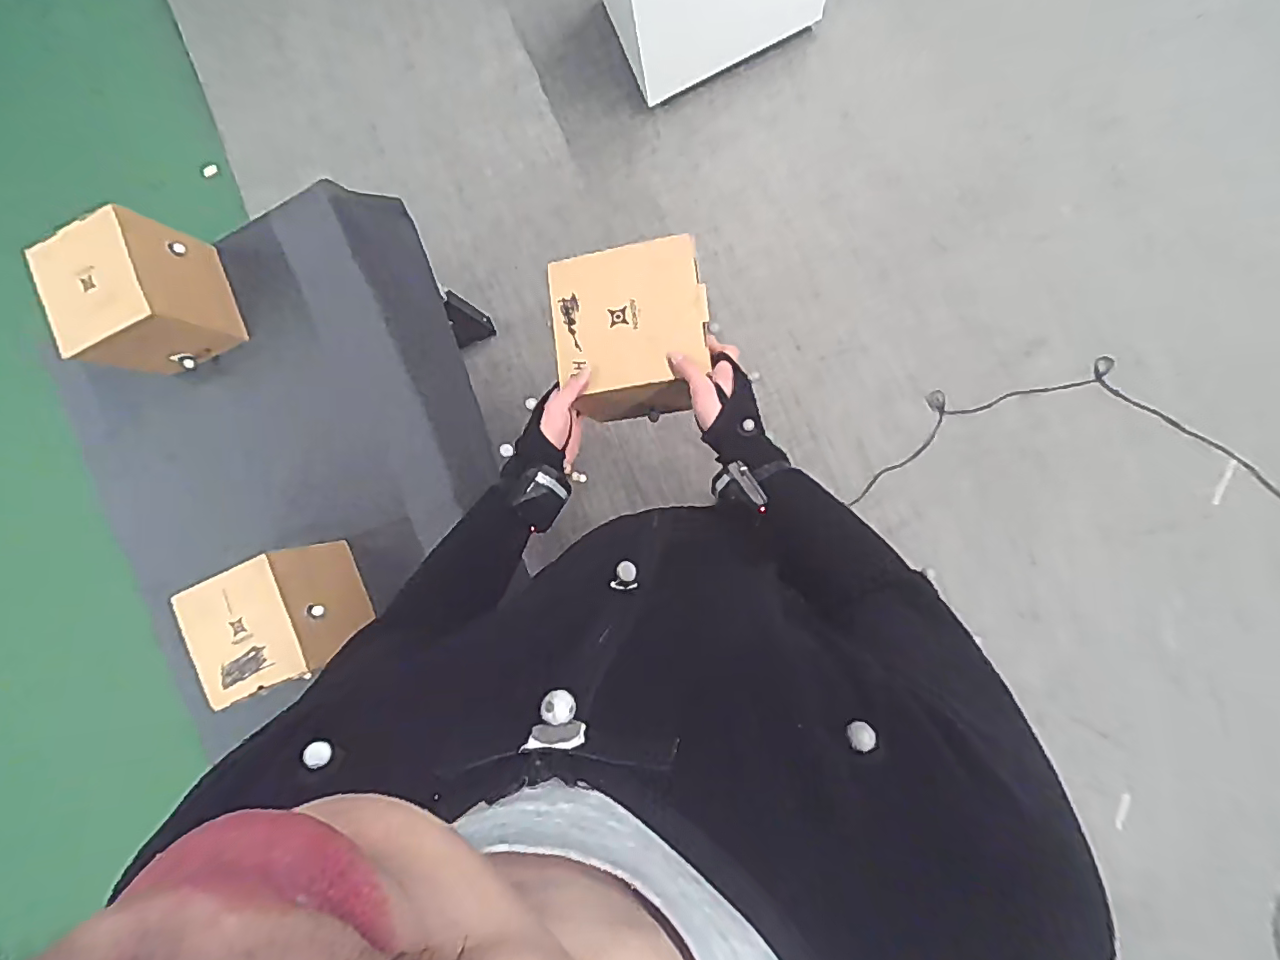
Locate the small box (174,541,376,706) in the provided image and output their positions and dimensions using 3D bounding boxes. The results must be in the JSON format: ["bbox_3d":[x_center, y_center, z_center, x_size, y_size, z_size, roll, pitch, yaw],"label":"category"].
[{"bbox_3d":[-0.545,0.209,0.831,0.168,0.176,0.179,-23,86,7],"label":"small box"}]

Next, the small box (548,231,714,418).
[{"bbox_3d":[-0.001,-0.182,0.685,0.179,0.176,0.168,-8,85,10],"label":"small box"}]

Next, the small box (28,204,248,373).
[{"bbox_3d":[-0.781,-0.289,0.858,0.168,0.176,0.179,-22,89,9],"label":"small box"}]
